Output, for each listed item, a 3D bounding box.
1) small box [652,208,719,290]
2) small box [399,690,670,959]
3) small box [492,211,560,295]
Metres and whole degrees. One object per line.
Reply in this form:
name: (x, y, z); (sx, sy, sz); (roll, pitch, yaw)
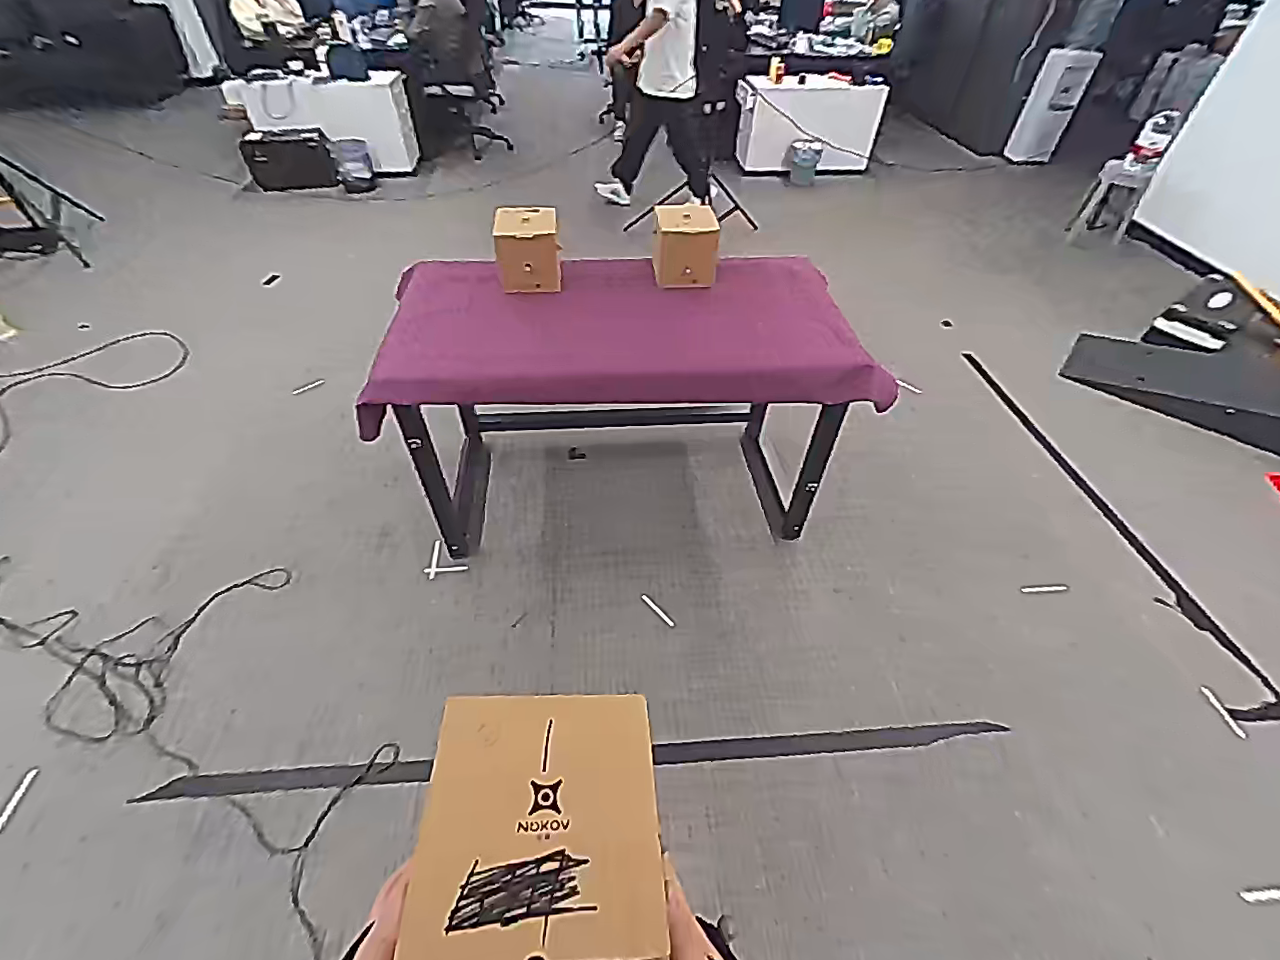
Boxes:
small box: (0.127, -0.678, 1.587); (0.168, 0.176, 0.179); (-4, 48, -4)
small box: (-0.074, 0.294, 0.436); (0.168, 0.176, 0.179); (3, 38, -7)
small box: (-0.318, -0.644, 1.542); (0.168, 0.176, 0.179); (-3, 49, -5)
